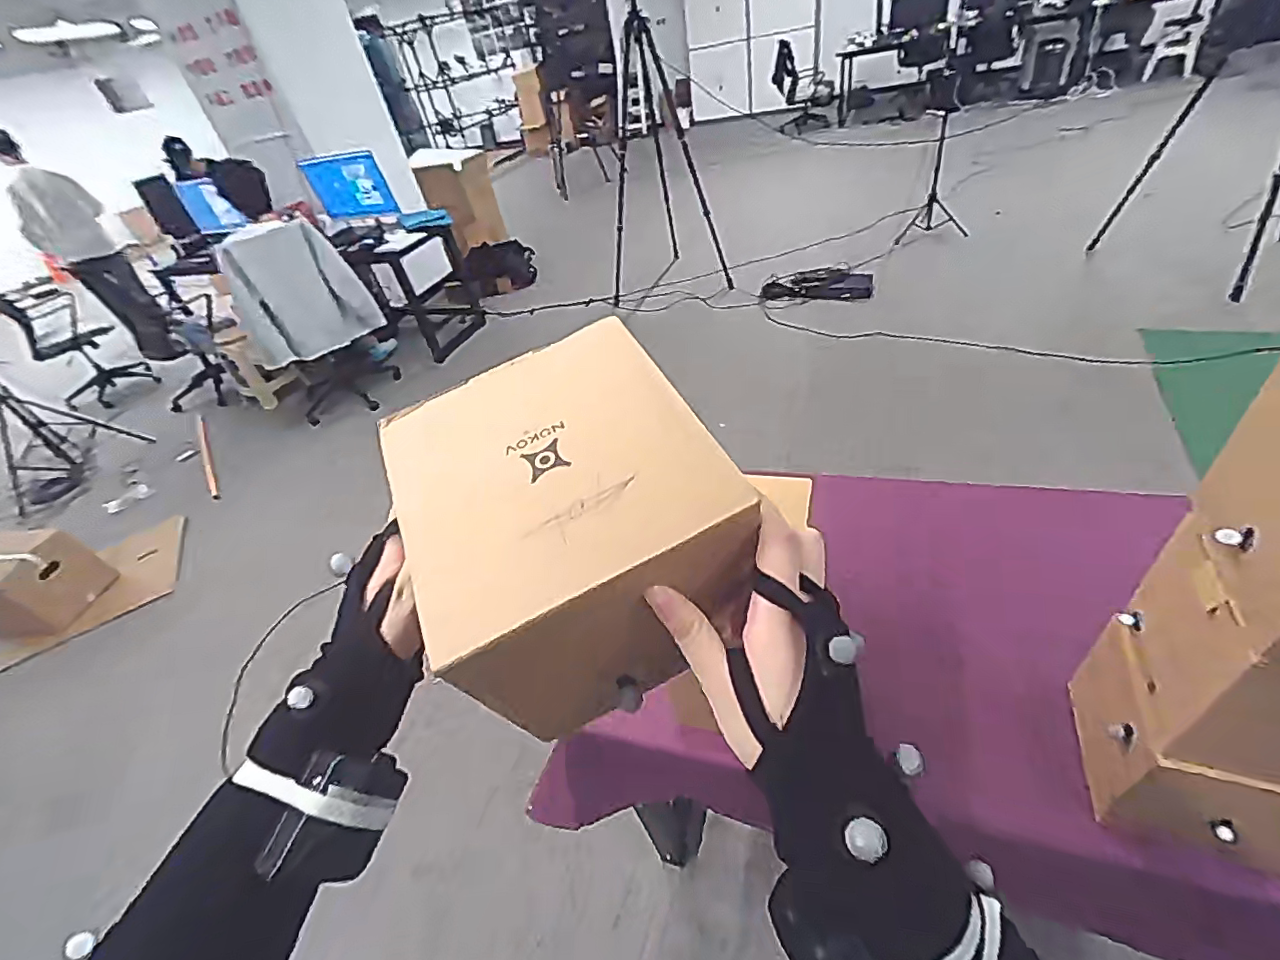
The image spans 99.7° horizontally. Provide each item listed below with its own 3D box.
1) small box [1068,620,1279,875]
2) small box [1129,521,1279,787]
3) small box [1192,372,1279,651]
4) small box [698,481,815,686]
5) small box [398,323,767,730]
[{"bbox_3d":[0.599,0.286,0.584,0.168,0.176,0.179,7,44,22],"label":"small box"},{"bbox_3d":[0.579,0.162,0.477,0.179,0.176,0.168,8,44,22],"label":"small box"},{"bbox_3d":[0.551,0.033,0.378,0.168,0.176,0.179,7,45,22],"label":"small box"},{"bbox_3d":[0.117,0.117,0.656,0.168,0.176,0.179,4,43,20],"label":"small box"},{"bbox_3d":[-0.033,0.034,0.361,0.168,0.176,0.179,-25,53,-7],"label":"small box"}]
